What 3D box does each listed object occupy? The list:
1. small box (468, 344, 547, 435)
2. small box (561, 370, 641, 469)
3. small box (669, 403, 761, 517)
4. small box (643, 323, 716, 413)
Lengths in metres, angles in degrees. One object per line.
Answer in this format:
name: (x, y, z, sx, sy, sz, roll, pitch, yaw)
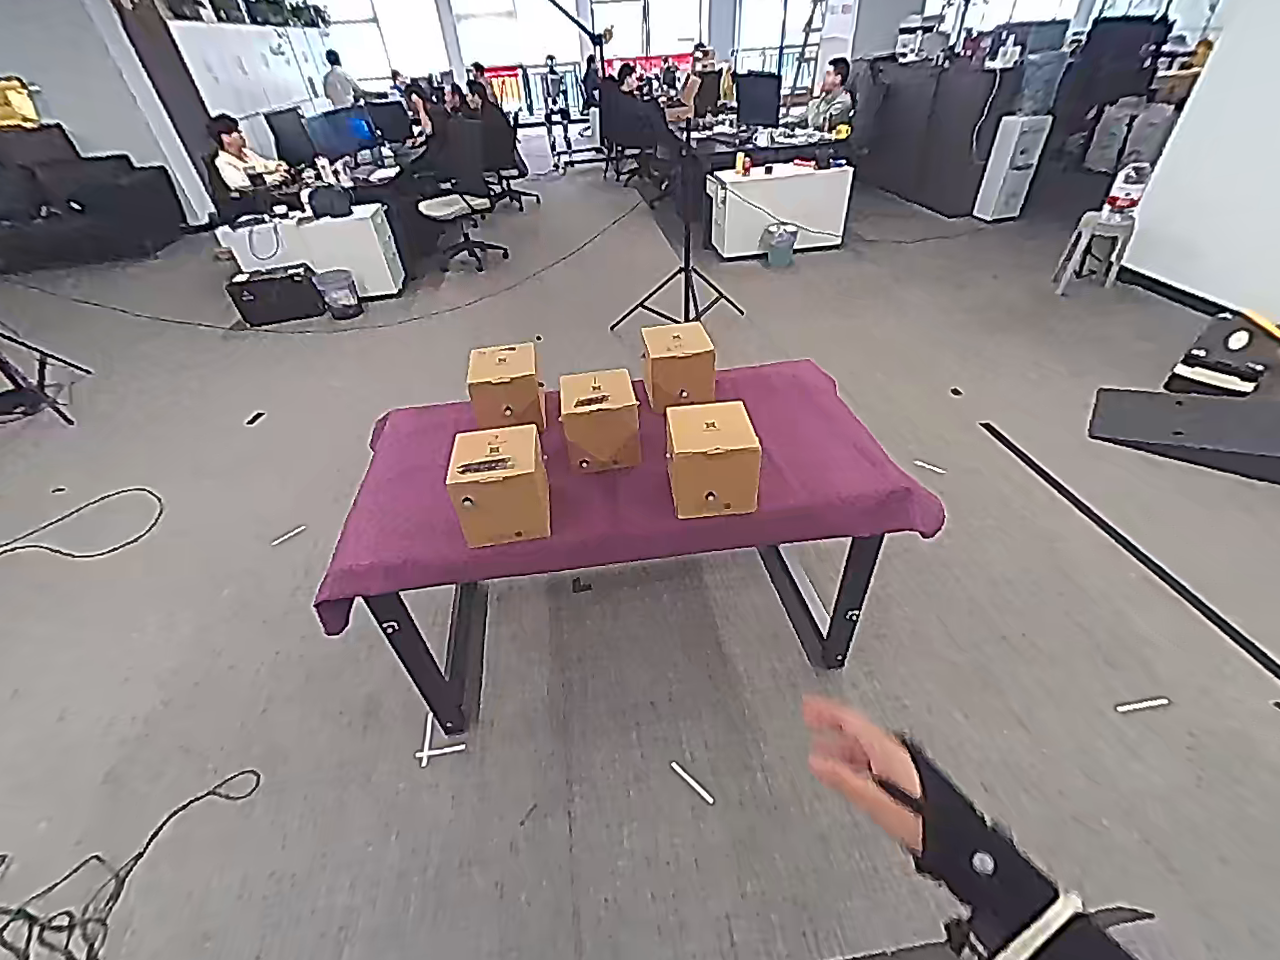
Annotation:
small box: (-0.338, -0.229, 1.410, 0.168, 0.176, 0.179, -8, 42, -5)
small box: (-0.092, -0.139, 1.280, 0.168, 0.176, 0.179, -8, 39, -4)
small box: (0.150, -0.043, 1.140, 0.168, 0.176, 0.179, -5, 38, -1)
small box: (0.102, -0.301, 1.454, 0.168, 0.176, 0.179, -9, 41, -4)
